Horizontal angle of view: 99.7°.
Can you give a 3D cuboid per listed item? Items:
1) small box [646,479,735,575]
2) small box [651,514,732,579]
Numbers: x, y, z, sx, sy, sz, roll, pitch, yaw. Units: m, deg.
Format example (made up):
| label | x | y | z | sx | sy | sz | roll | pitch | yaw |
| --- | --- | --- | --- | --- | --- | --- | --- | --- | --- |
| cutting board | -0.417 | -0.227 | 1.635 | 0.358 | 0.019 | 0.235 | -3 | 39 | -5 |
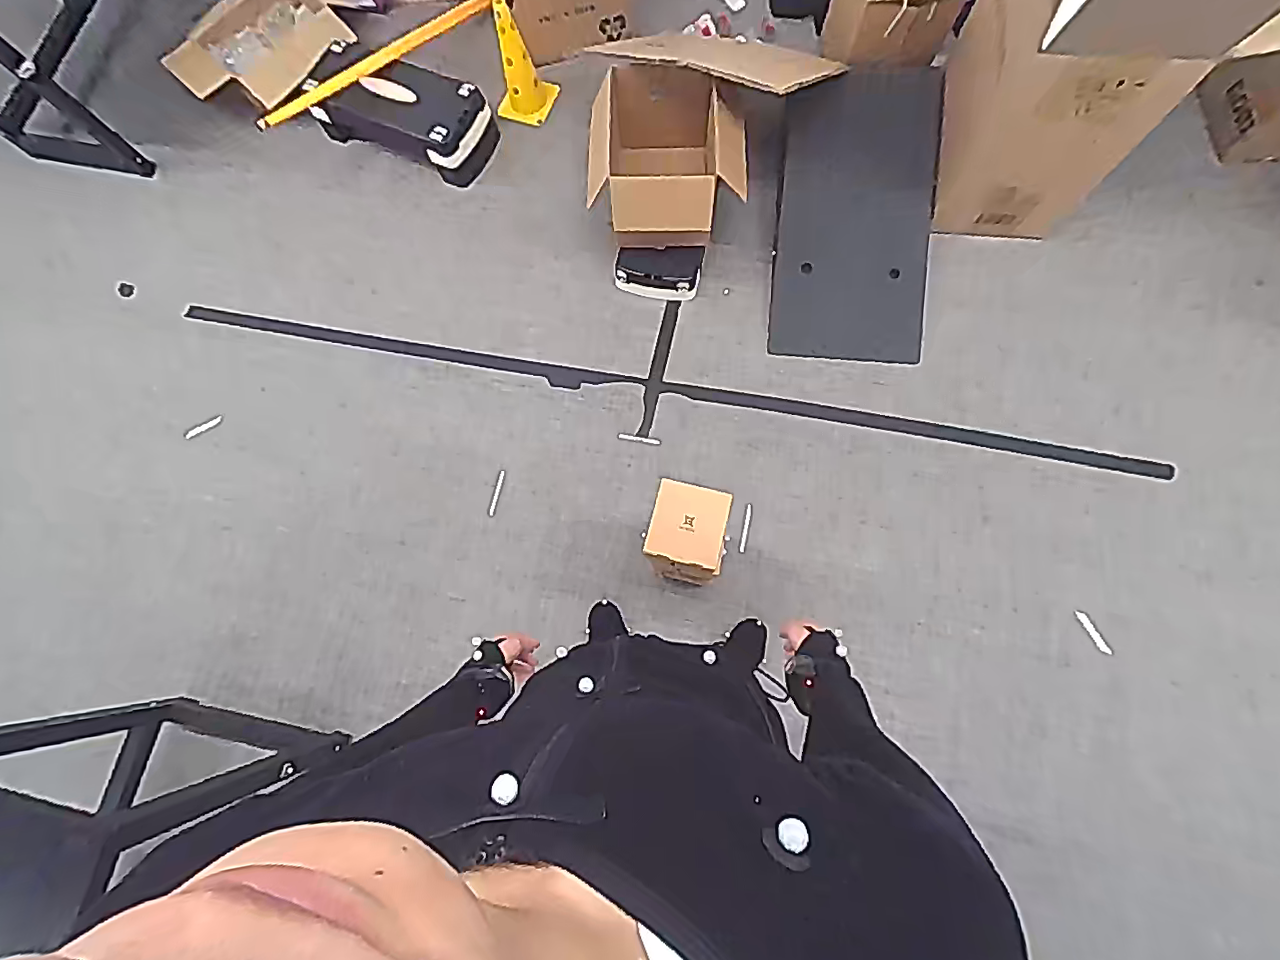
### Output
| label | x | y | z | sx | sy | sz | roll | pitch | yaw |
| --- | --- | --- | --- | --- | --- | --- | --- | --- | --- |
| small box | 0.114 | 0.115 | 1.266 | 0.168 | 0.176 | 0.179 | 13 | 78 | 6 |
| small box | 0.132 | 0.162 | 1.421 | 0.179 | 0.176 | 0.168 | 12 | 77 | 5 |
